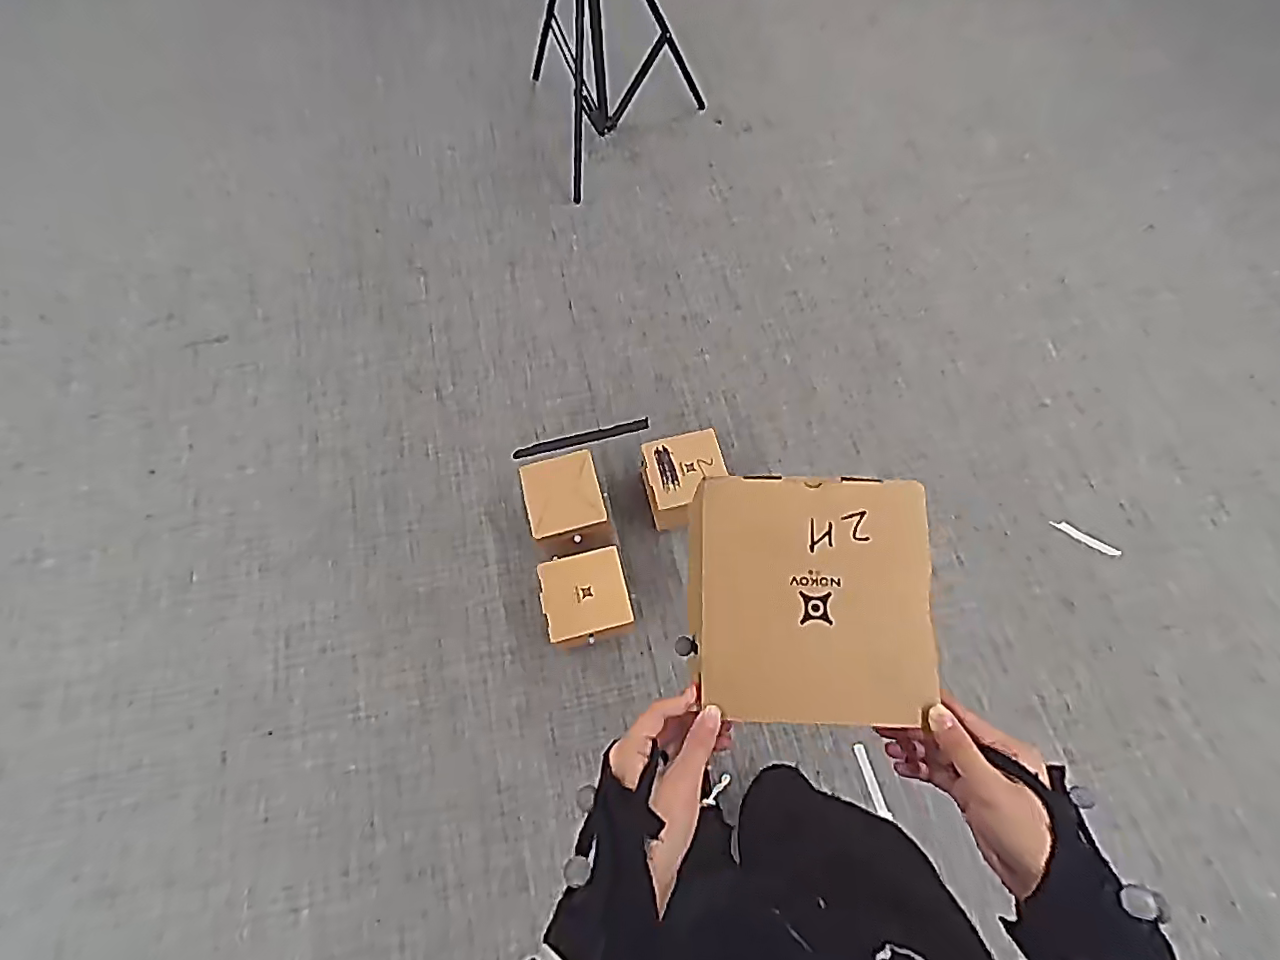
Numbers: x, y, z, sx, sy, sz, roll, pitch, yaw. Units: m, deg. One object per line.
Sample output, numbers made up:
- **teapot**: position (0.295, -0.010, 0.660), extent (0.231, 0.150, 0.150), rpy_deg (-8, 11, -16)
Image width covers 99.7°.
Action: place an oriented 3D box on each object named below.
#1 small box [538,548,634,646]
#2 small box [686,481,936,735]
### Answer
- **small box**: position (-0.115, 0.262, 1.196), extent (0.179, 0.176, 0.168), rpy_deg (-14, 70, -4)
- **small box**: position (0.129, 0.103, 0.469), extent (0.168, 0.176, 0.179), rpy_deg (1, 78, 1)
